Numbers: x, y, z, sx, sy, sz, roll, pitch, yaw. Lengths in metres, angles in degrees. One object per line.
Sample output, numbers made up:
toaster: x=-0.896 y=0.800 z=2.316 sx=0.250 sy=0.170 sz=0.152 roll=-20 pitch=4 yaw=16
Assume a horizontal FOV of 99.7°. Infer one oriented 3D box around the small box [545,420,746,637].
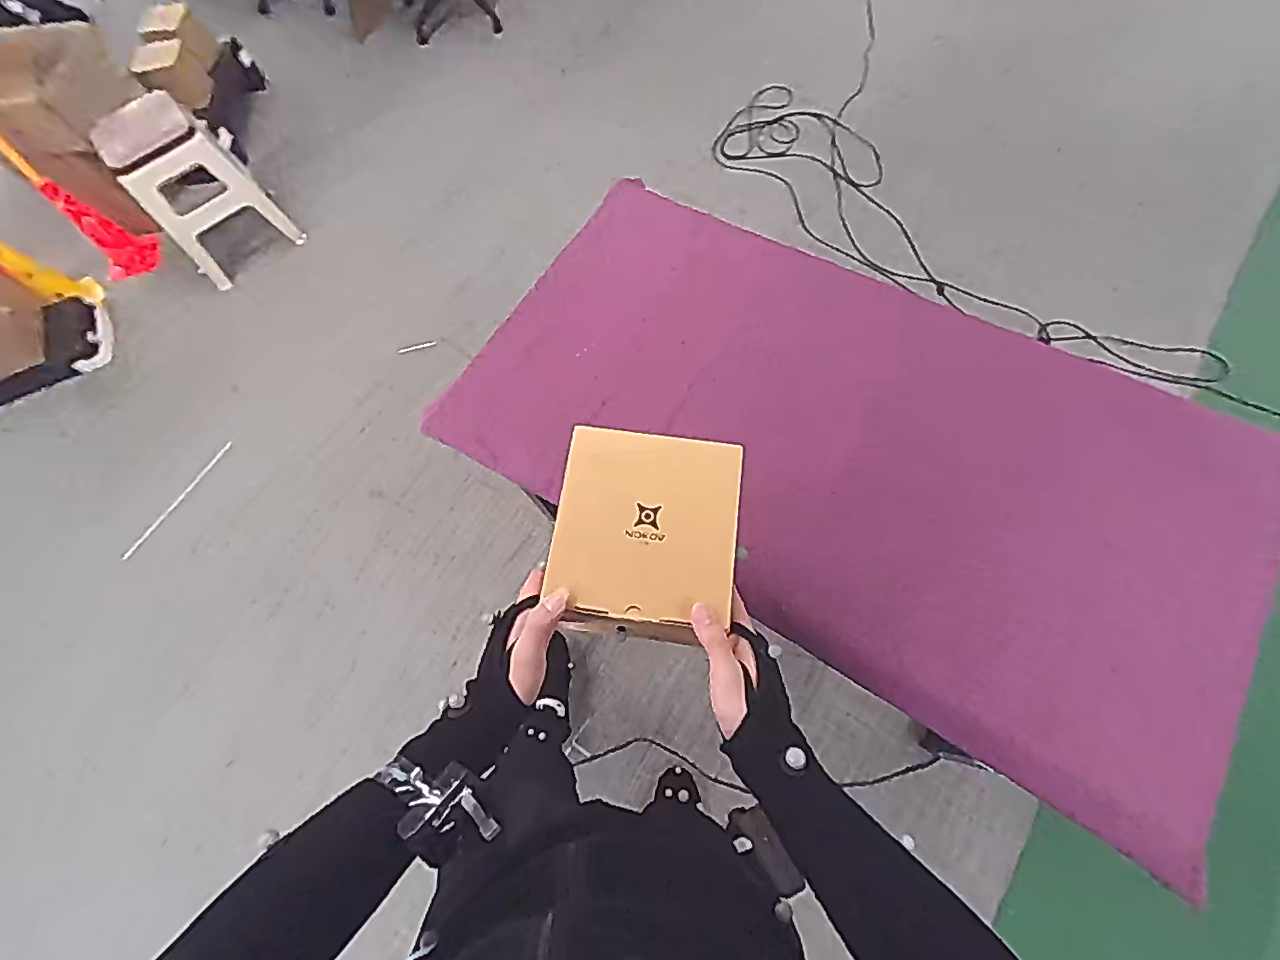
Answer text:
small box: x=0.008 y=0.060 z=0.567 sx=0.168 sy=0.176 sz=0.179 roll=8 pitch=71 yaw=3
